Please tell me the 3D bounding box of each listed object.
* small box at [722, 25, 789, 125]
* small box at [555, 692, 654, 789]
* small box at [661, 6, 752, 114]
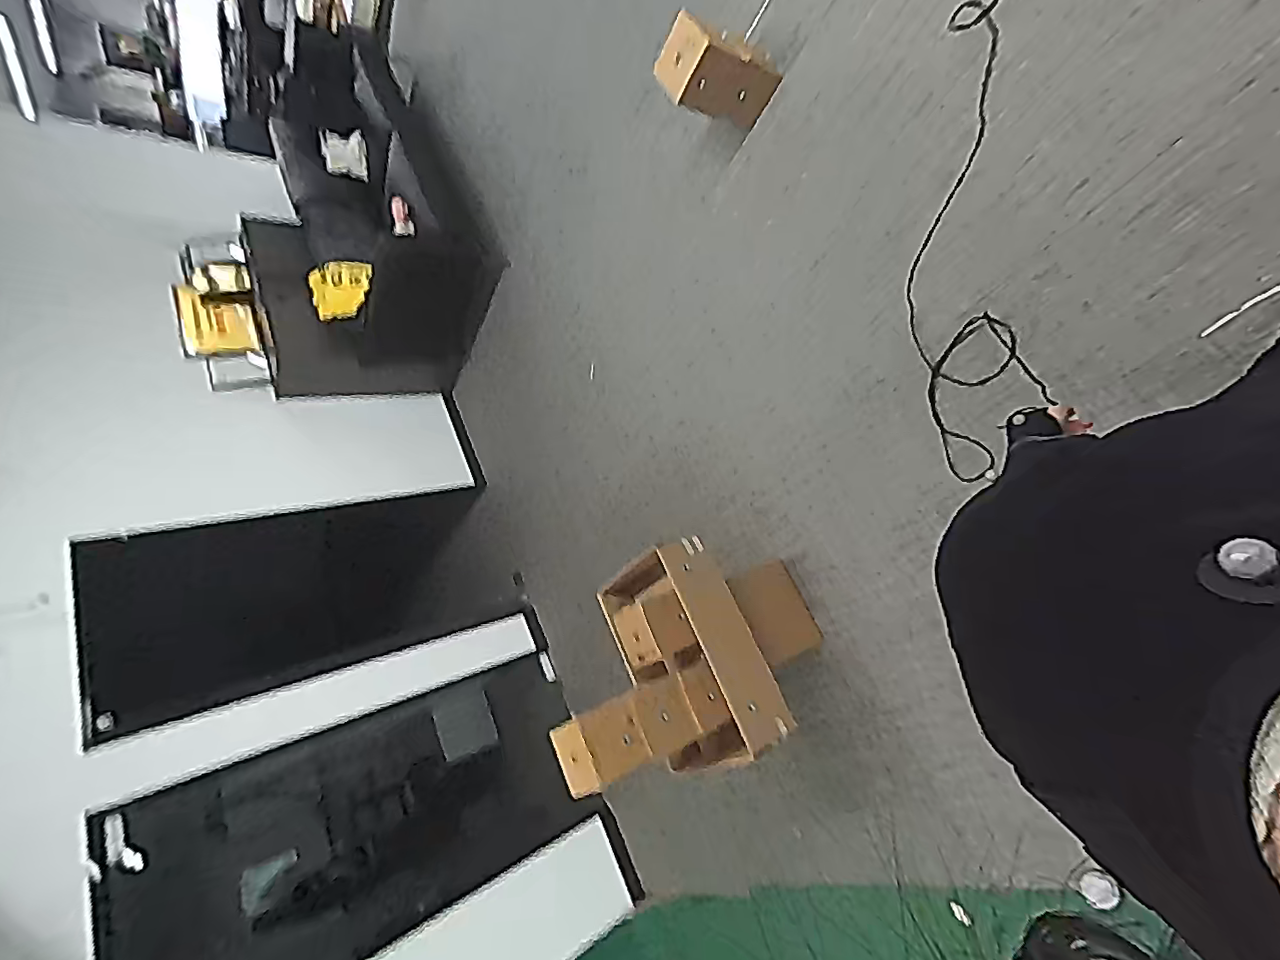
[{"bbox_3d":[0.332,-1.264,1.703,0.179,0.176,0.168,-48,60,44],"label":"small box"},{"bbox_3d":[-0.093,0.676,1.408,0.179,0.176,0.168,-47,61,44],"label":"small box"},{"bbox_3d":[0.199,-1.238,1.608,0.179,0.176,0.168,-48,61,45],"label":"small box"}]
